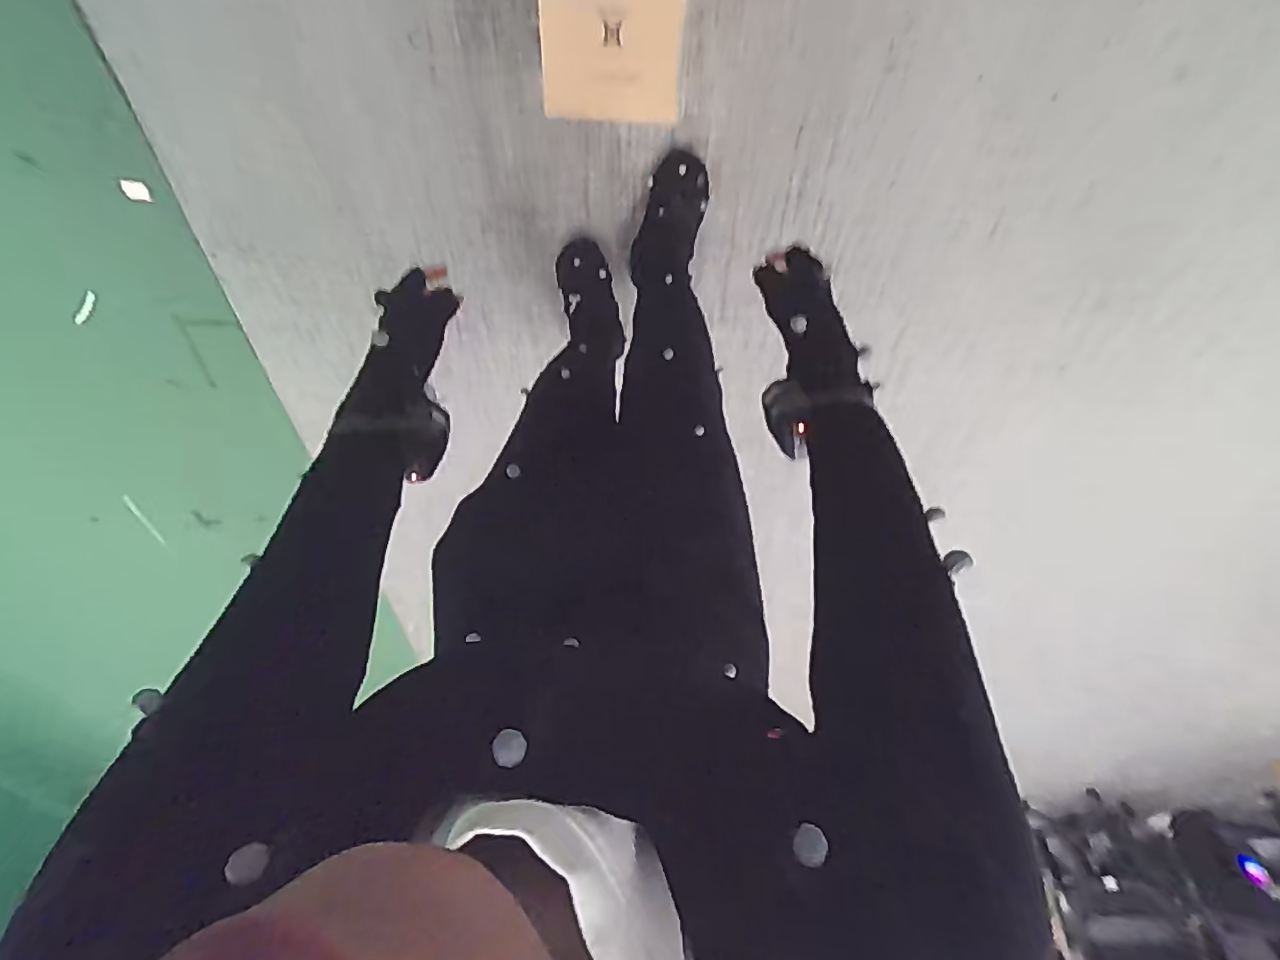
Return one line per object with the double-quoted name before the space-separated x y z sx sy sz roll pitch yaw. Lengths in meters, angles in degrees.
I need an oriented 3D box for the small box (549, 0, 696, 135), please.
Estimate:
"small box" -0.018 -0.558 0.681 0.168 0.176 0.179 4 134 1
